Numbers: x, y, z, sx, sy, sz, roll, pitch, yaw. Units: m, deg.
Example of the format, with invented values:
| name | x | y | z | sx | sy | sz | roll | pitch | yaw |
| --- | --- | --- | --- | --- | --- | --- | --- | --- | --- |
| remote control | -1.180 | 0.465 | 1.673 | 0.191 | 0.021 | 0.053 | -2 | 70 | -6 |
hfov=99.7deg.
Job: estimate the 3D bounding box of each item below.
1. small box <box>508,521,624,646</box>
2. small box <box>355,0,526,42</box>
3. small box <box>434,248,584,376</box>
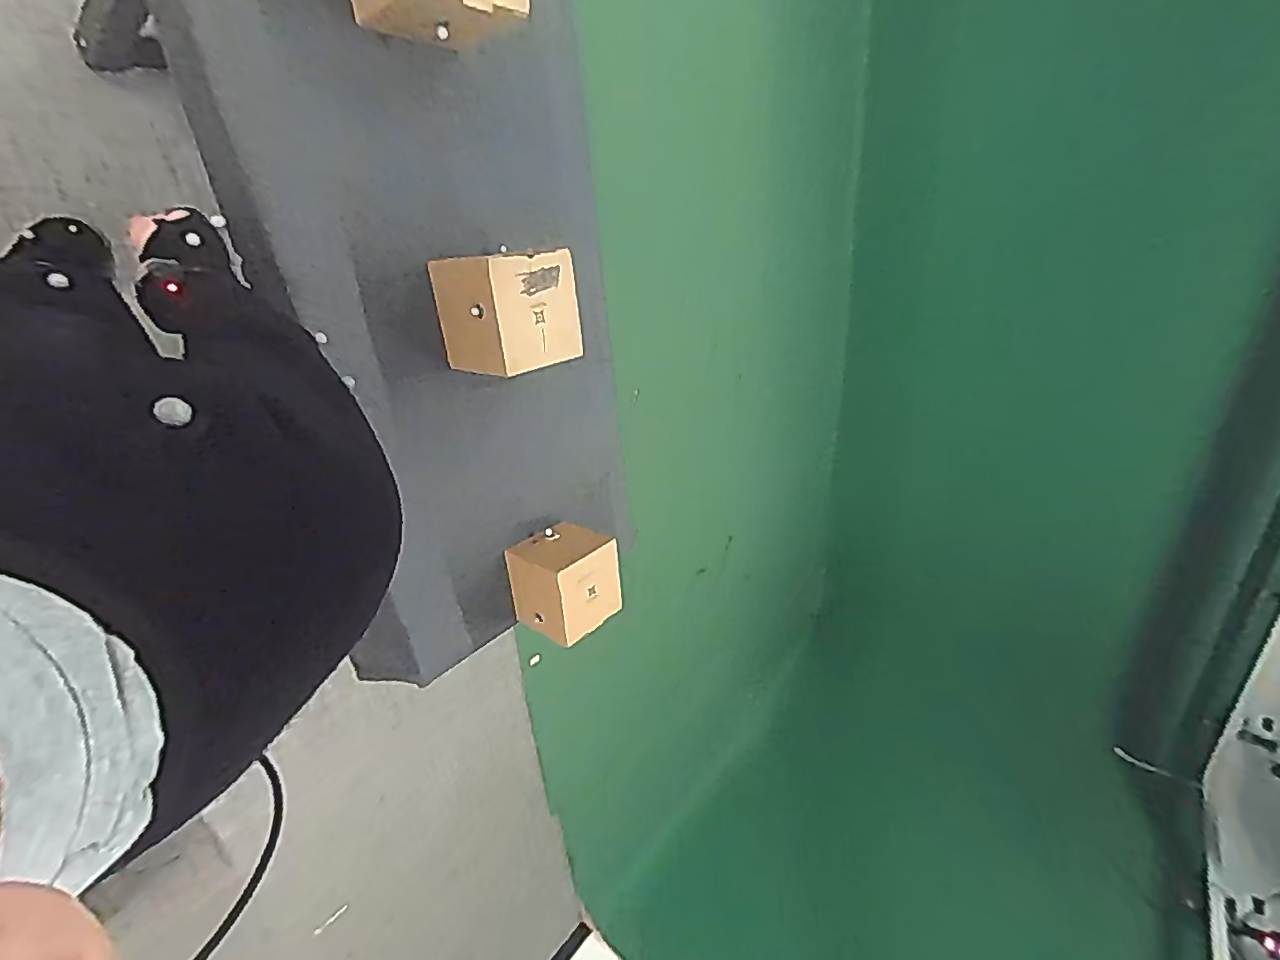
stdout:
| name | x | y | z | sx | sy | sz | roll | pitch | yaw |
| --- | --- | --- | --- | --- | --- | --- | --- | --- | --- |
| small box | -0.155 | 0.209 | 1.141 | 0.168 | 0.176 | 0.179 | -29 | 122 | -43 |
| small box | -0.271 | -0.698 | 0.691 | 0.168 | 0.176 | 0.179 | -28 | 124 | -43 |
| small box | -0.217 | -0.282 | 0.899 | 0.168 | 0.176 | 0.179 | -29 | 124 | -41 |
